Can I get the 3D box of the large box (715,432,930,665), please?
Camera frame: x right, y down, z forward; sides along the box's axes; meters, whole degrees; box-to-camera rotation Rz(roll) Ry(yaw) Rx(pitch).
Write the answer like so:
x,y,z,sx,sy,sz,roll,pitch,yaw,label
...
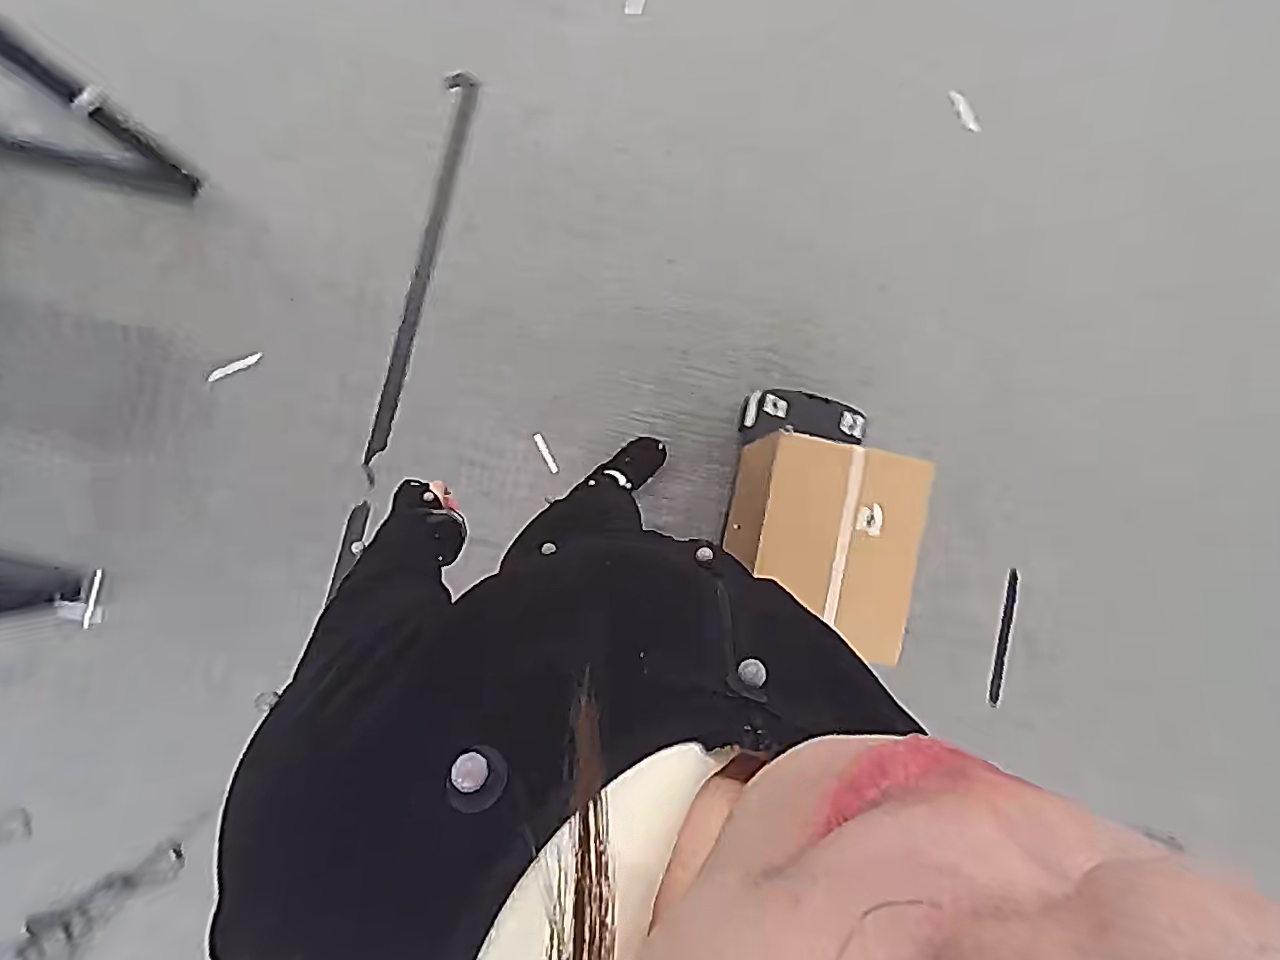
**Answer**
x,y,z,sx,sy,sz,roll,pitch,yaw,label
0.370,0.140,1.177,0.320,0.320,0.408,12,86,-3,large box
